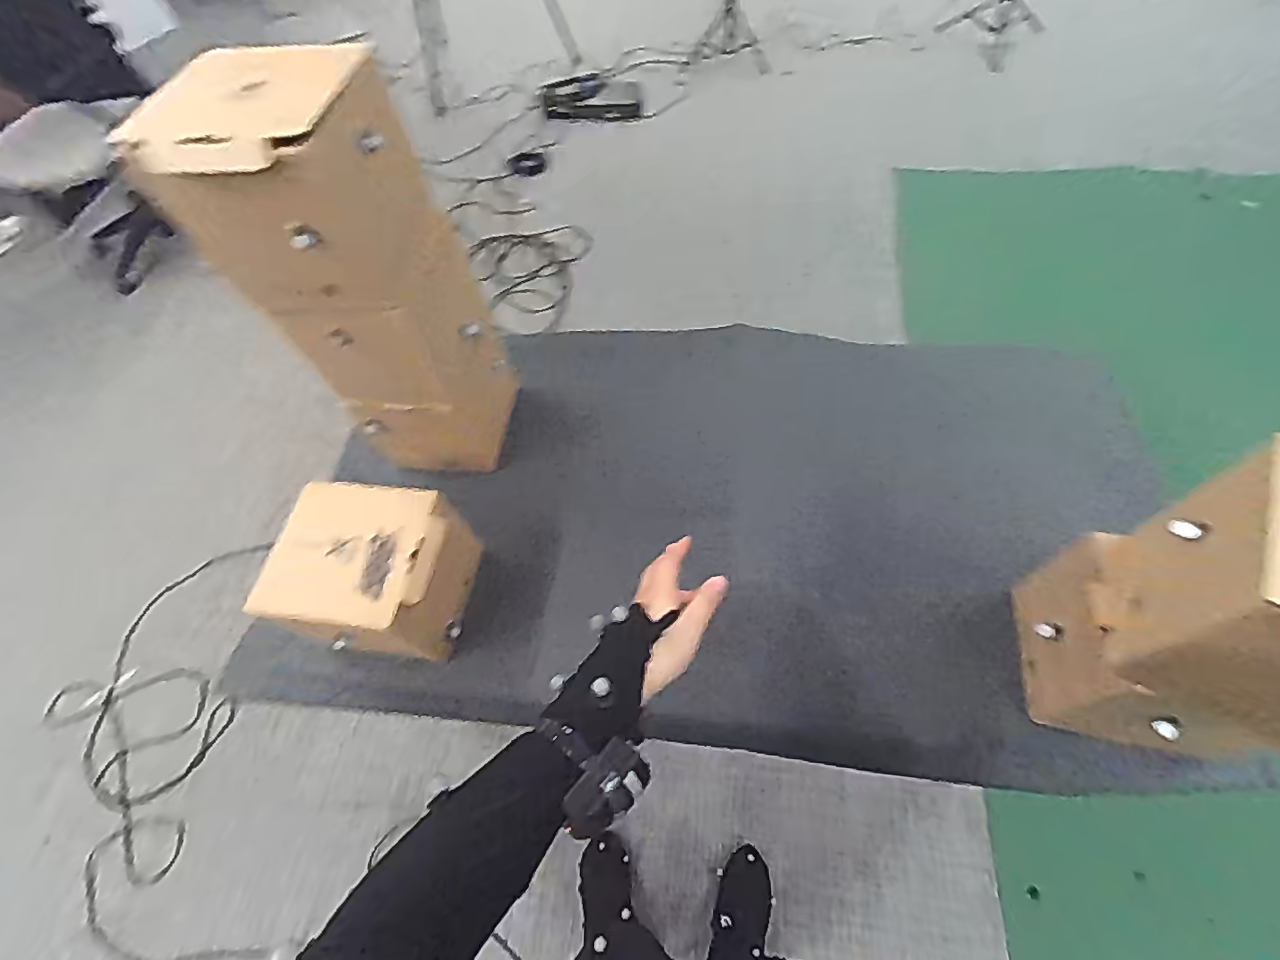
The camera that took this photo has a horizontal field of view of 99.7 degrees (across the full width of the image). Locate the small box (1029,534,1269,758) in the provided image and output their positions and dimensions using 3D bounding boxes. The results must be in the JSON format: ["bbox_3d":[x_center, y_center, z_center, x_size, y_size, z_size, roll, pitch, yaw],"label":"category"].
[{"bbox_3d":[0.544,0.179,0.569,0.179,0.176,0.168,9,59,11],"label":"small box"}]

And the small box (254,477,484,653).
[{"bbox_3d":[-0.321,0.114,0.687,0.179,0.176,0.168,5,61,8],"label":"small box"}]

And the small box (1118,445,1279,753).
[{"bbox_3d":[0.533,0.106,0.421,0.179,0.176,0.168,29,64,20],"label":"small box"}]

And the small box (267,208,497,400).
[{"bbox_3d":[-0.305,-0.216,0.682,0.179,0.176,0.168,5,62,7],"label":"small box"}]

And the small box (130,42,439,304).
[{"bbox_3d":[-0.324,-0.296,0.541,0.168,0.176,0.179,2,60,4],"label":"small box"}]
